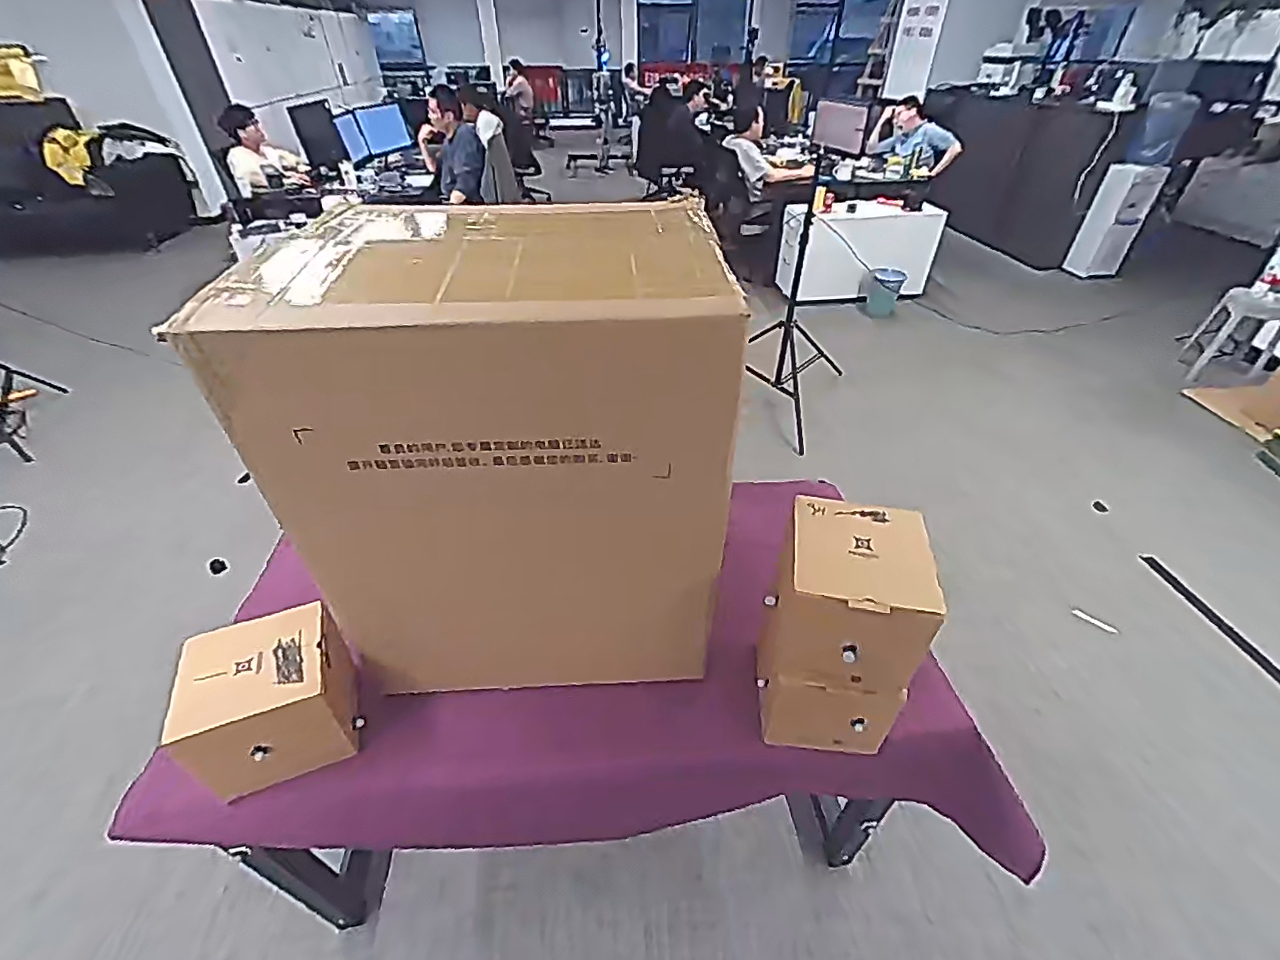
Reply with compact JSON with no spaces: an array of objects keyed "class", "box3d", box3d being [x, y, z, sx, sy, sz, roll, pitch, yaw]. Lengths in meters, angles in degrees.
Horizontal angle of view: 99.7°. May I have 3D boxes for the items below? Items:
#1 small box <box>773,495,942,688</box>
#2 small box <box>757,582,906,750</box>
[{"class":"small box","box3d":[0.274,0.147,0.717,0.168,0.176,0.179,8,40,10]},{"class":"small box","box3d":[0.272,0.279,0.814,0.168,0.176,0.179,4,38,4]}]
